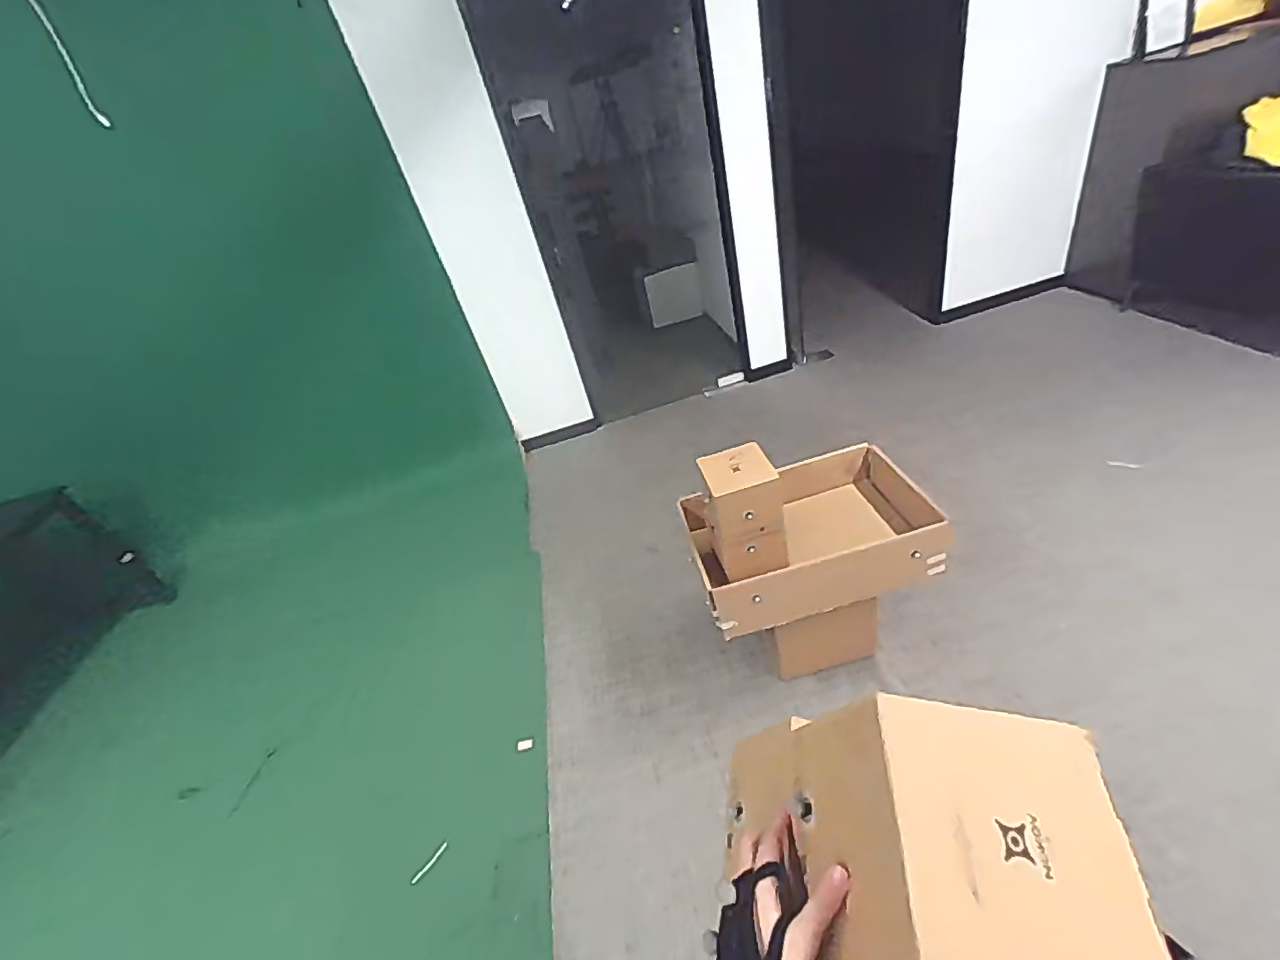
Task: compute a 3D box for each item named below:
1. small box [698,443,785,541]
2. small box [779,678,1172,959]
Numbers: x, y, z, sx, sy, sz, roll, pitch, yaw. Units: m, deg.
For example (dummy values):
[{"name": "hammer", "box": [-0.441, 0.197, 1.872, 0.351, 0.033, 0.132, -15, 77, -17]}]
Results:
[{"name": "small box", "box": [0.262, 0.037, 1.392, 0.168, 0.176, 0.179, -17, 35, 1]}, {"name": "small box", "box": [0.223, 0.269, 0.411, 0.179, 0.176, 0.168, 11, 53, -6]}]
